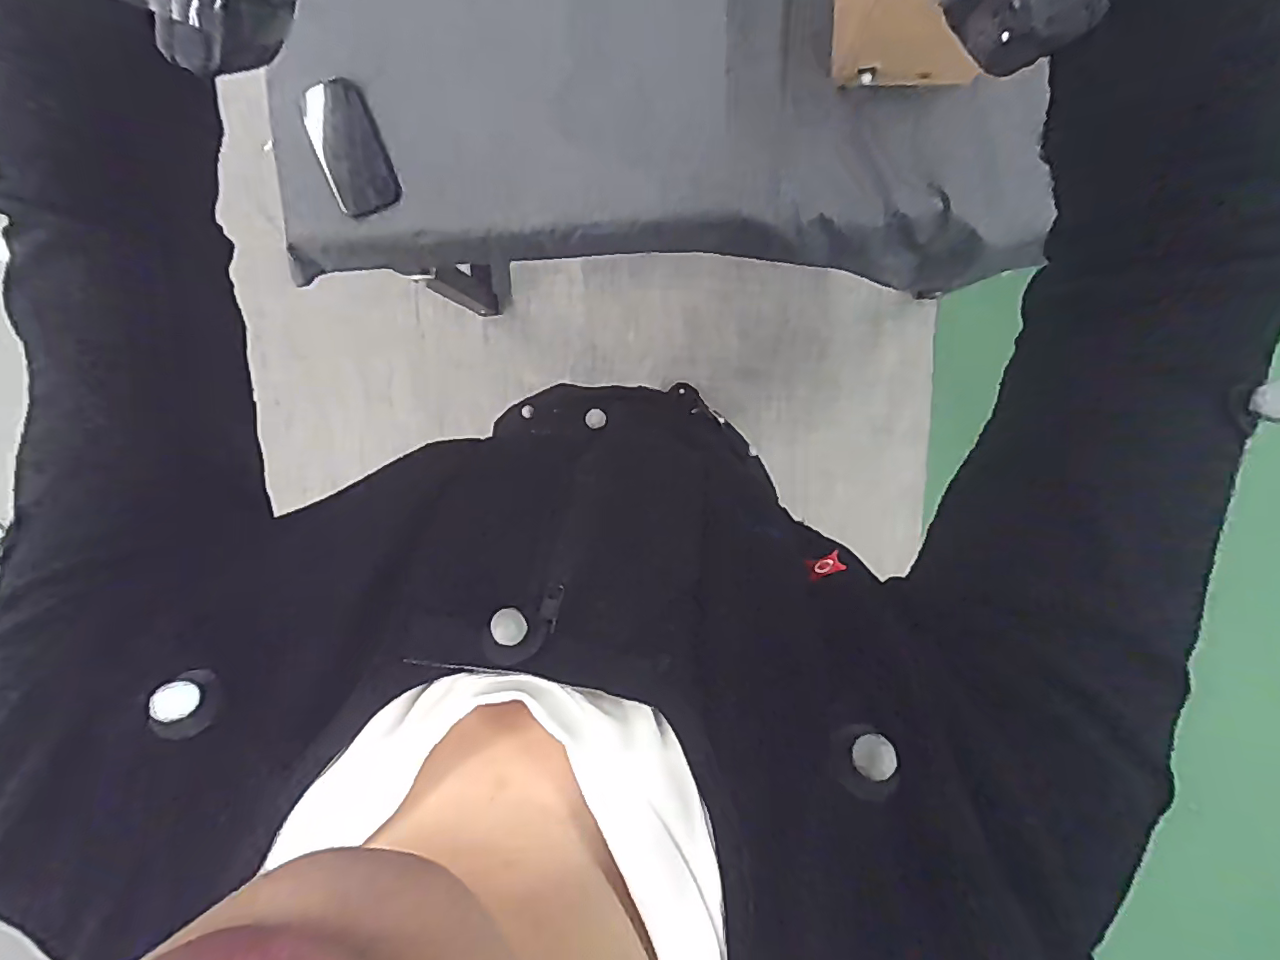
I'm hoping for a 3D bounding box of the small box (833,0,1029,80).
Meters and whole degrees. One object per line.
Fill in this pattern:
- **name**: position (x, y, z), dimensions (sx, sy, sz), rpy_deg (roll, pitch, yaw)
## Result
- **small box**: position (0.313, -0.559, 0.568), dimensions (0.168, 0.176, 0.179), rpy_deg (0, 97, 1)
